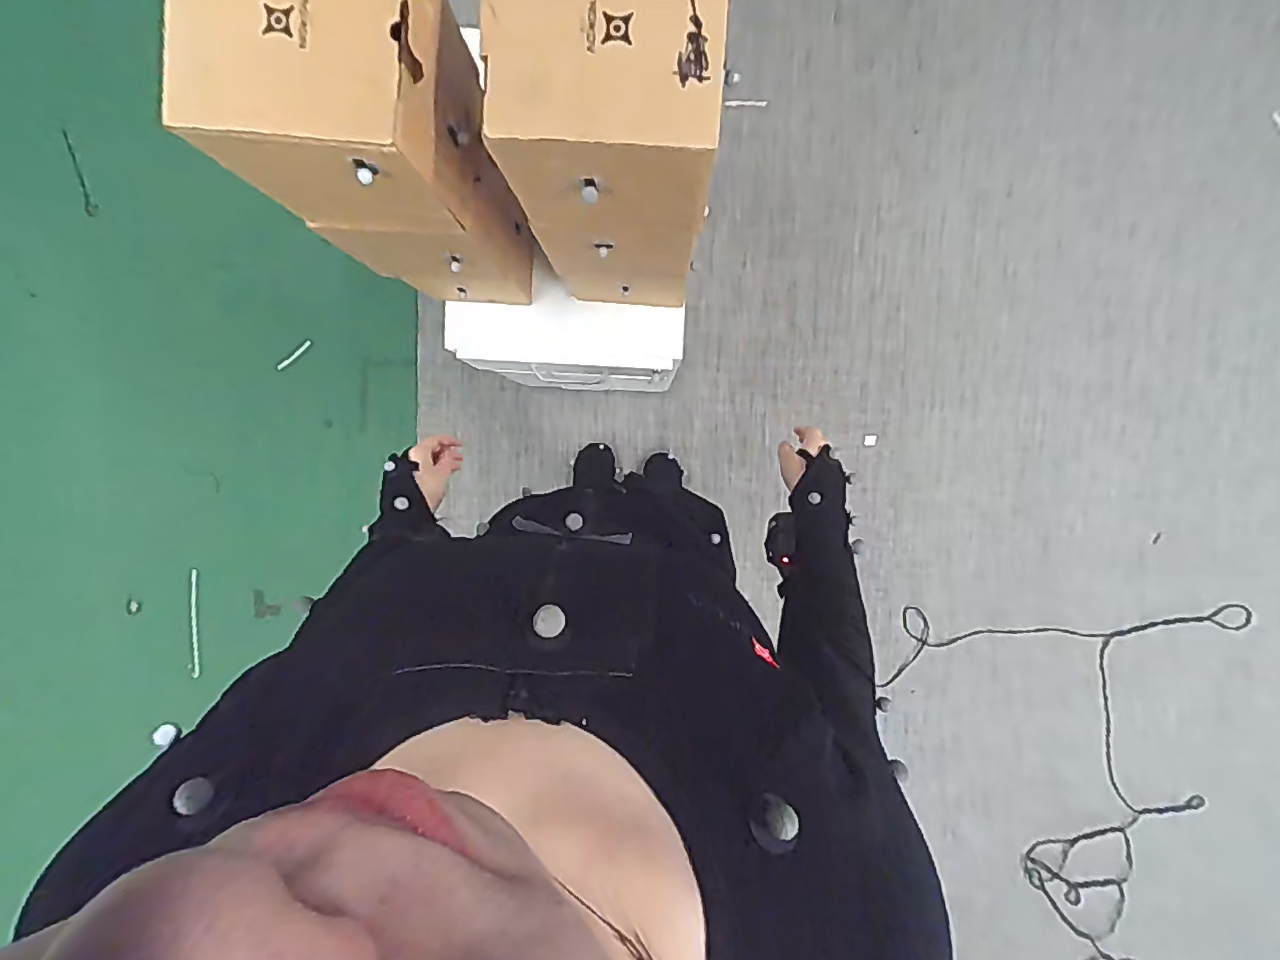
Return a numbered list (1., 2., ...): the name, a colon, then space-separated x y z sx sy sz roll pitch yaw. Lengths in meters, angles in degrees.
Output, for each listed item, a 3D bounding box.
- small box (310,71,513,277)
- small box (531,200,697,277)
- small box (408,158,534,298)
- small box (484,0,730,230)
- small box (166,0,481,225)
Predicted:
1. small box: -0.252 -0.348 0.635 0.179 0.176 0.168 2 93 0
2. small box: -0.017 -0.347 0.631 0.179 0.176 0.168 5 94 1
3. small box: -0.252 -0.377 0.796 0.168 0.176 0.179 3 94 -2
4. small box: -0.019 -0.333 0.468 0.179 0.176 0.168 4 95 3
5. small box: -0.254 -0.342 0.472 0.179 0.176 0.168 4 94 -1
